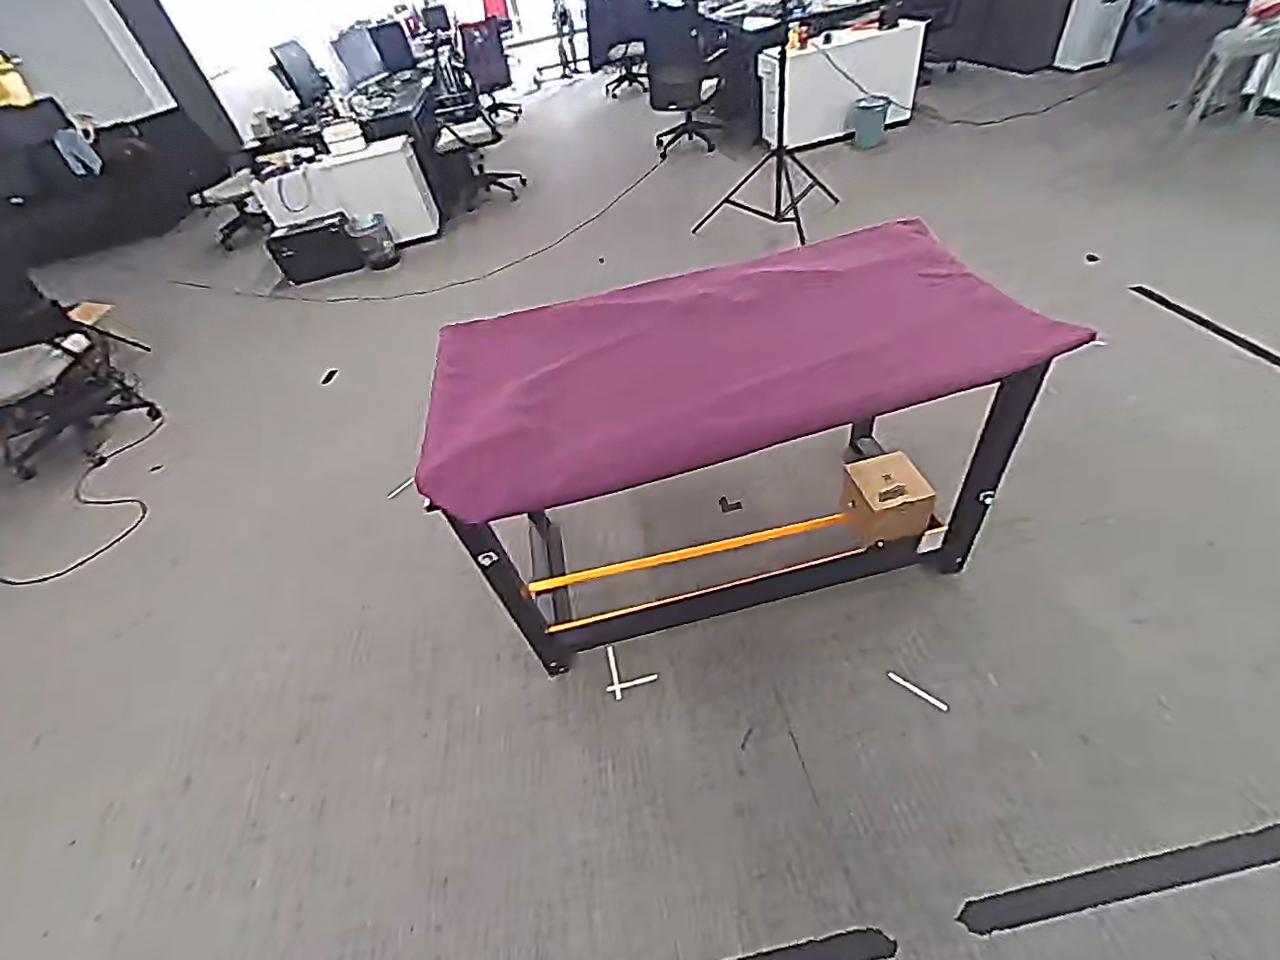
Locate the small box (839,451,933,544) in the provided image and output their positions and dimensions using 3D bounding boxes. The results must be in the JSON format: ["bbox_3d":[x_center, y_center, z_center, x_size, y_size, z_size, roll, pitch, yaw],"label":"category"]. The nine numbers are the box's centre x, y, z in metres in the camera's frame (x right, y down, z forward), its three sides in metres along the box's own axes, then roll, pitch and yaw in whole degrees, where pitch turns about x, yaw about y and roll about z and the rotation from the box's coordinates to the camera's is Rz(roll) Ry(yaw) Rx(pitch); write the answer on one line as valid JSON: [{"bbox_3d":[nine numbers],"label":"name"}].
[{"bbox_3d":[0.652,0.054,1.455,0.168,0.176,0.179,-14,44,0],"label":"small box"}]
